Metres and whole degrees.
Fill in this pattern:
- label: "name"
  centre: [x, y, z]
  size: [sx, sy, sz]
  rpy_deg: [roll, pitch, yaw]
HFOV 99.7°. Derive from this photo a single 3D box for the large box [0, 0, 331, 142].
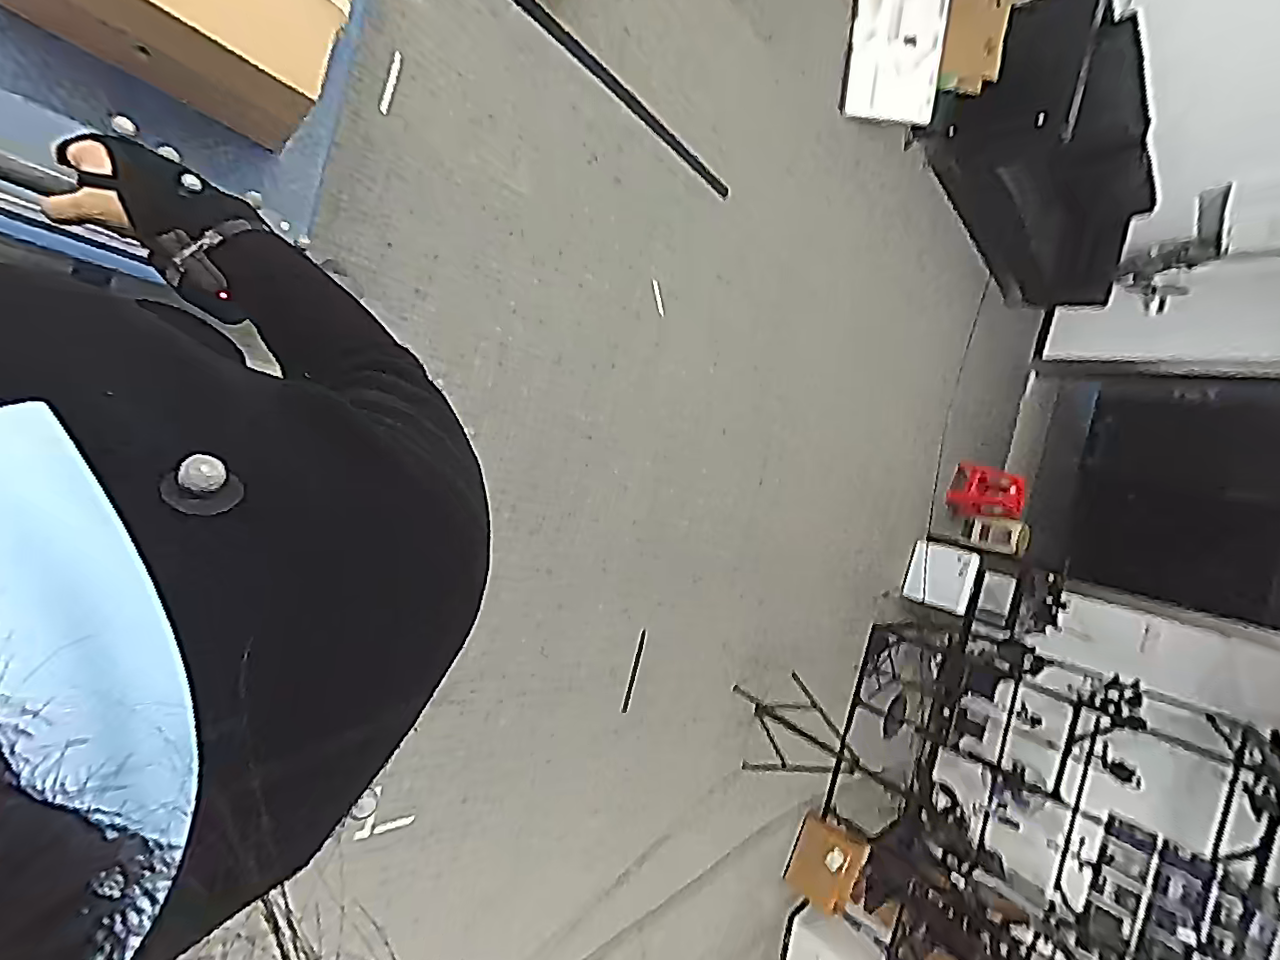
- label: "large box"
  centre: [-0.717, -0.806, 0.812]
  size: [0.408, 0.320, 0.320]
  rpy_deg: [15, 89, -44]
